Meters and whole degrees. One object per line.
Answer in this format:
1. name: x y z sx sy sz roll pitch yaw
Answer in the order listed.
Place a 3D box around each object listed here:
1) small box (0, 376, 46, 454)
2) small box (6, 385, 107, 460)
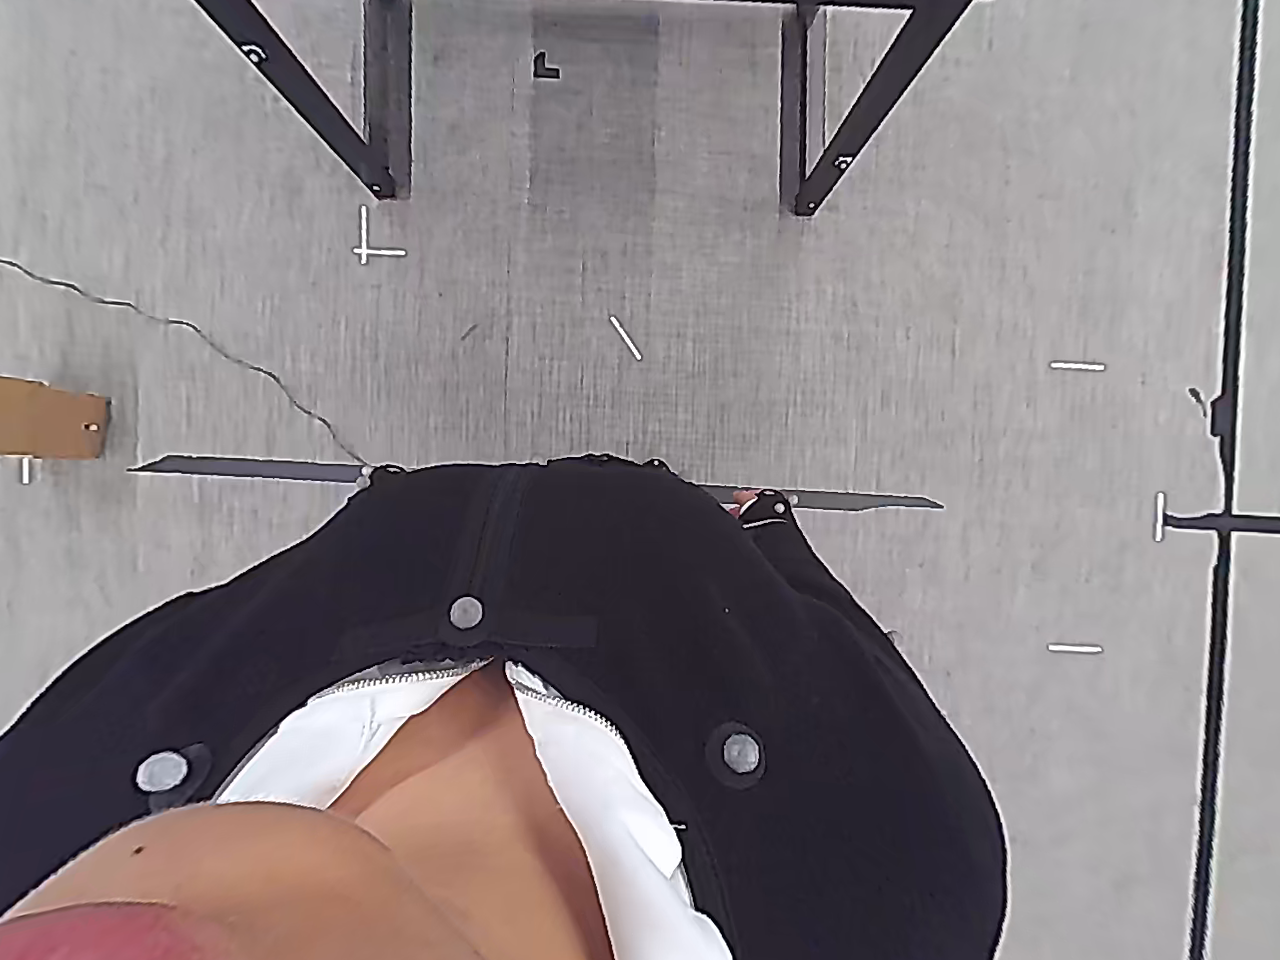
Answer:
1. small box: -1.489 -0.150 1.200 0.168 0.176 0.179 3 91 -2
2. small box: -1.511 -0.150 1.365 0.168 0.176 0.179 9 90 -2
